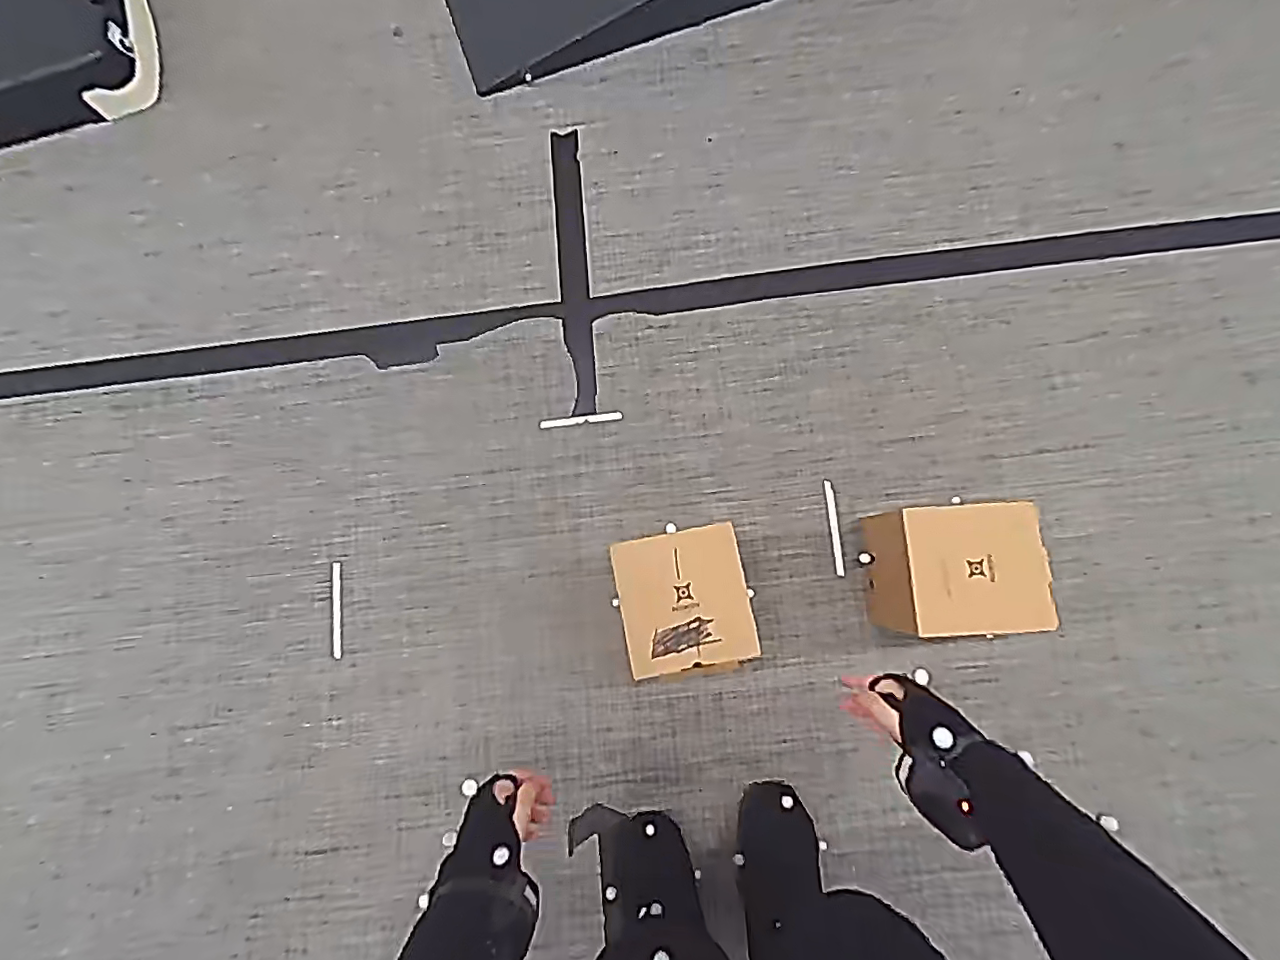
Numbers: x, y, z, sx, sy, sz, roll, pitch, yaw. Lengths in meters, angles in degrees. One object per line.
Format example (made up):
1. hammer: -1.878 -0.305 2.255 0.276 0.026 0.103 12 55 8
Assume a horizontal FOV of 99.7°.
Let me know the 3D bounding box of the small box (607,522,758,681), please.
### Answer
1. small box: 0.055 0.162 0.759 0.168 0.176 0.179 -11 81 0

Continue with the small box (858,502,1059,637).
1. small box: 0.428 0.121 0.756 0.179 0.176 0.168 -3 81 2
